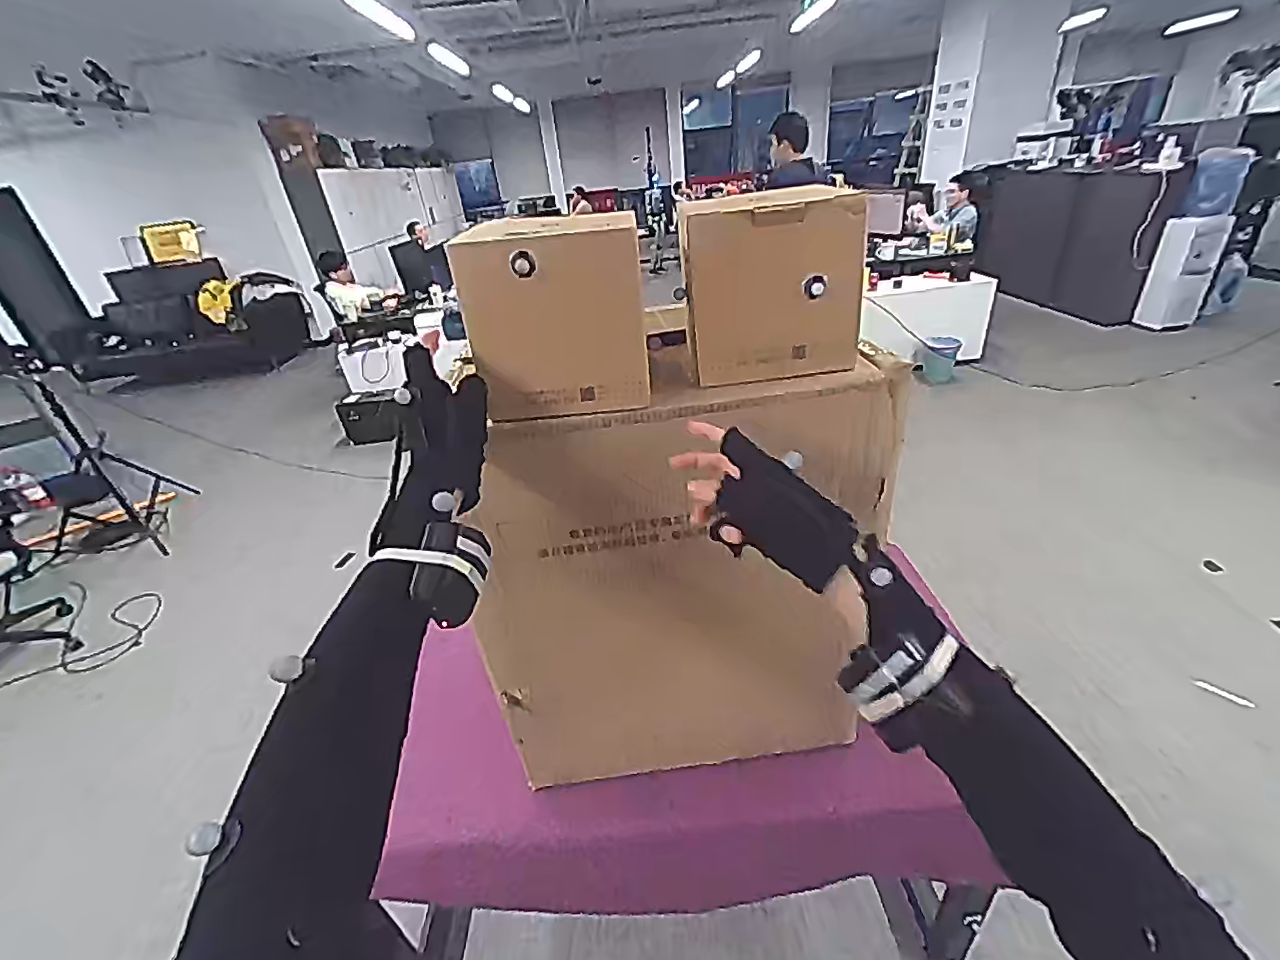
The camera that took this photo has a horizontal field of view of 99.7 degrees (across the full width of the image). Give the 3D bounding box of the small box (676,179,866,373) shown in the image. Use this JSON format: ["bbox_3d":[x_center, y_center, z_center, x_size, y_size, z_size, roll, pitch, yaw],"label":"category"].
[{"bbox_3d":[0.132,-0.222,0.594,0.168,0.176,0.179,-6,29,3],"label":"small box"}]
